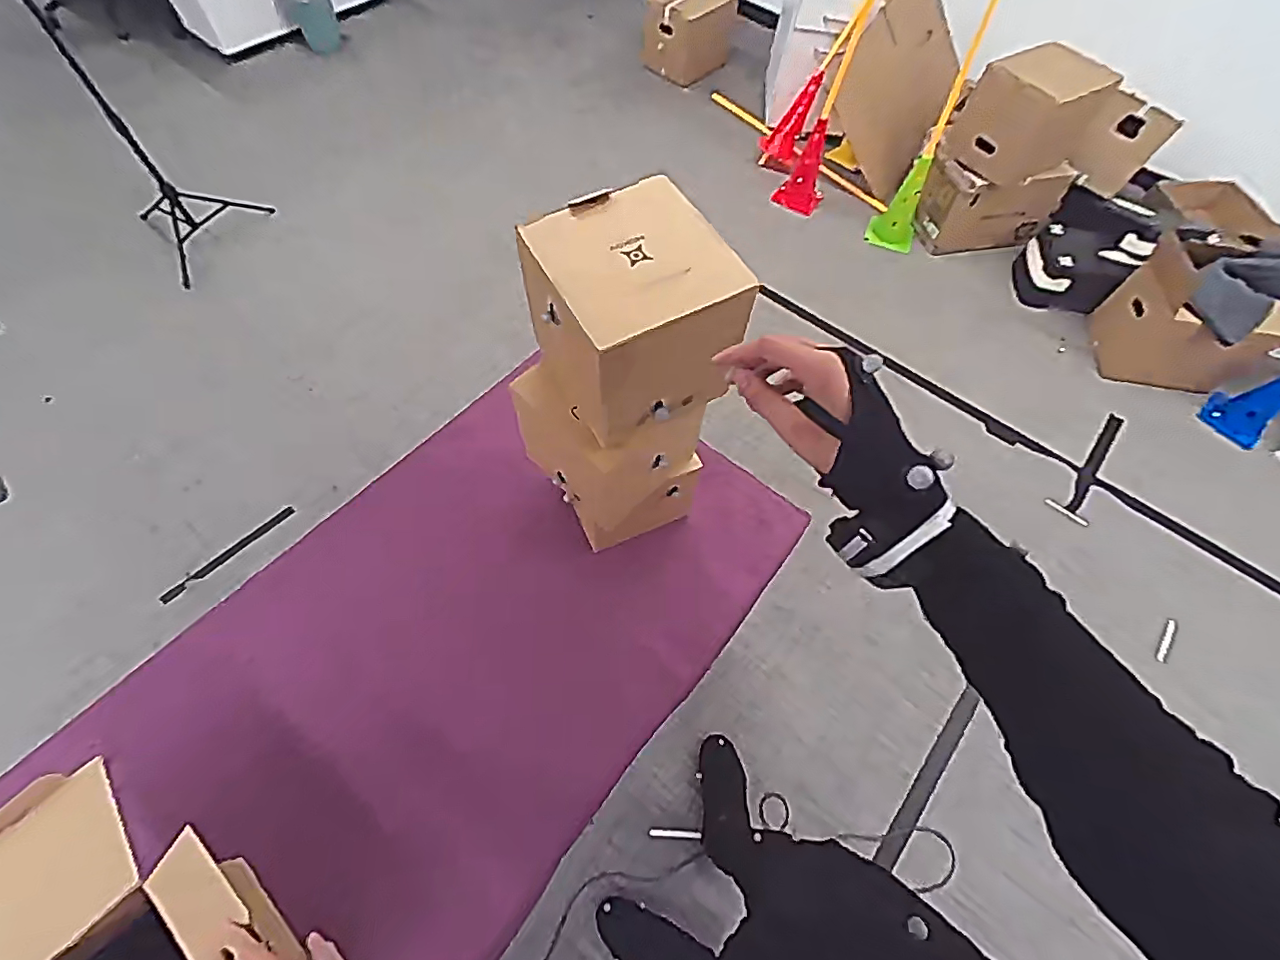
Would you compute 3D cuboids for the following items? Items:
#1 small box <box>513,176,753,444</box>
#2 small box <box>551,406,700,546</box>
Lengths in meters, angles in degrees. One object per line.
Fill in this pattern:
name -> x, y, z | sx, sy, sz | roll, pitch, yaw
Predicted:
small box -> -0.012, -0.169, 0.563 | 0.168, 0.176, 0.179 | -26, 68, -13
small box -> -0.028, -0.020, 0.855 | 0.179, 0.176, 0.168 | -21, 65, -13
